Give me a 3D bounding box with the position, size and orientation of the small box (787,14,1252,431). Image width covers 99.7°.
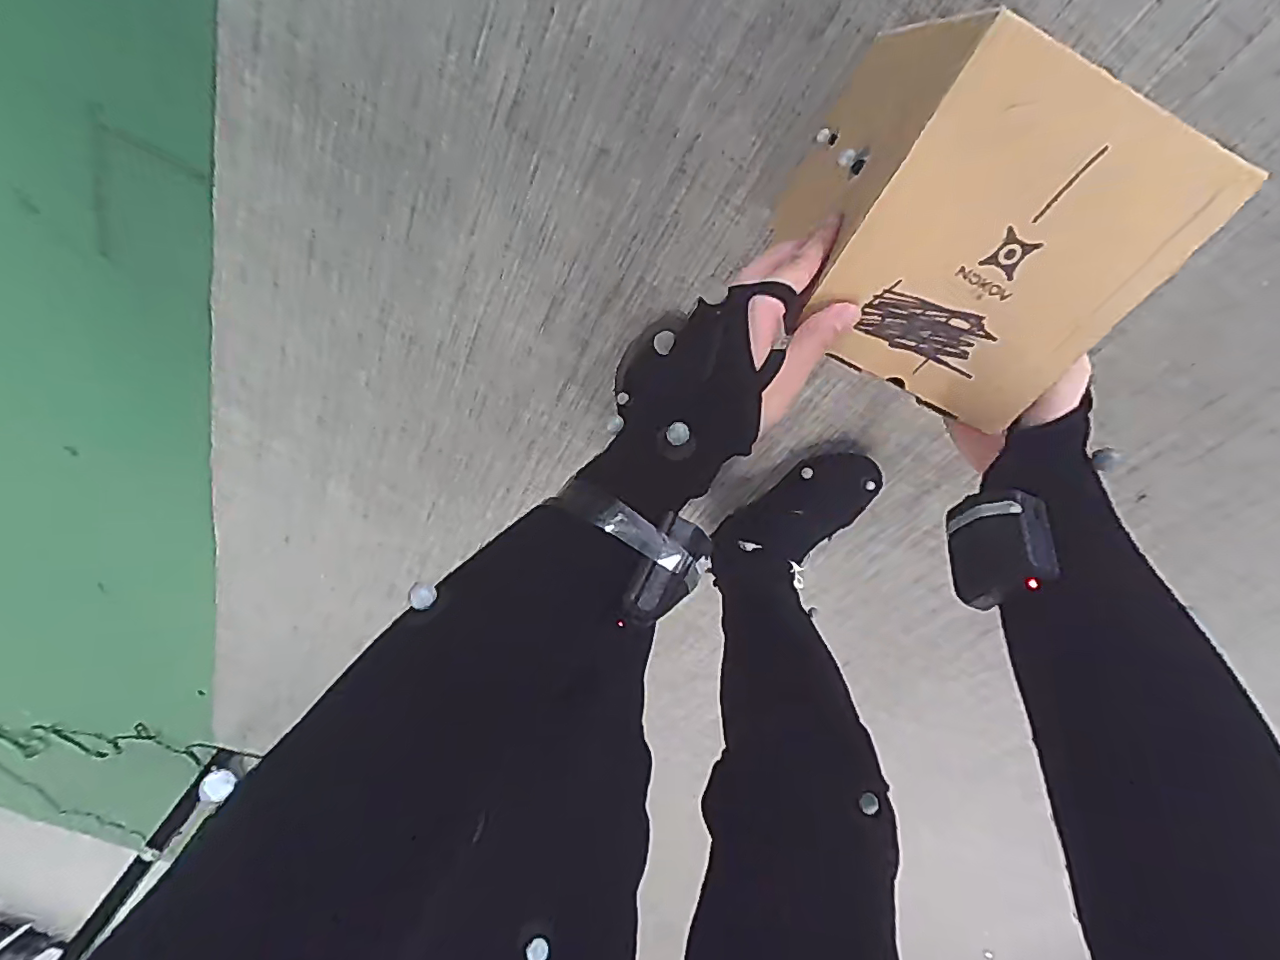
[{"bbox_3d":[0.218,-0.172,0.377,0.168,0.176,0.179,24,126,-8],"label":"small box"}]
